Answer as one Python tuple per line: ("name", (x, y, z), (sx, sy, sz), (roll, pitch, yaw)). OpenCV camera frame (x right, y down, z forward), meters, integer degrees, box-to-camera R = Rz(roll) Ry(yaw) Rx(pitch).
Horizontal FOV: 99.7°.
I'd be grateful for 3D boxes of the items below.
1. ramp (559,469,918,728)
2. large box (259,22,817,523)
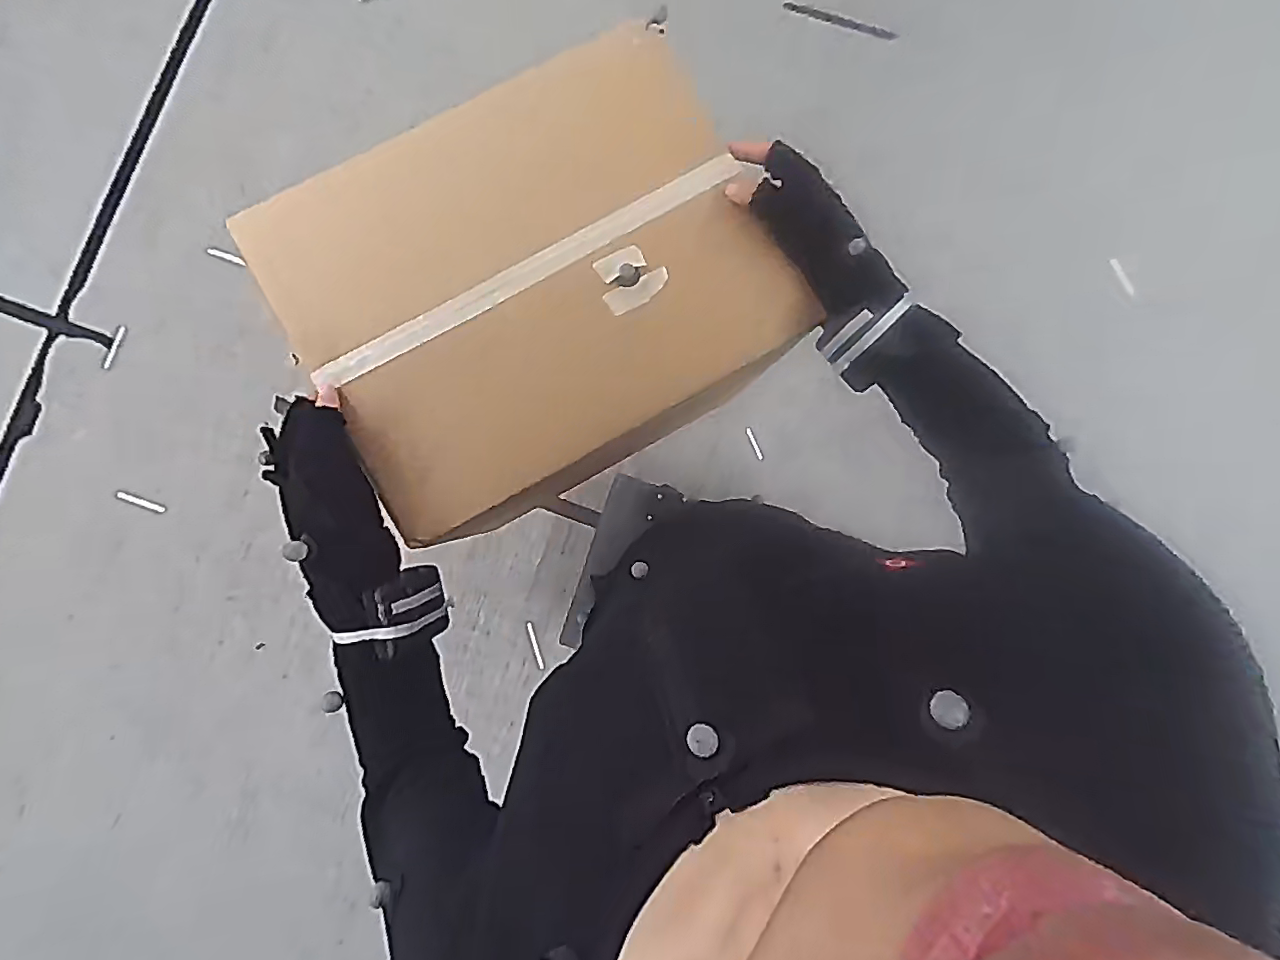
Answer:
("ramp", (0.317, 0.352, 1.553), (0.991, 0.206, 0.509), (17, 84, 0))
("large box", (-0.093, -0.180, 0.620), (0.408, 0.320, 0.320), (-29, 90, -5))
